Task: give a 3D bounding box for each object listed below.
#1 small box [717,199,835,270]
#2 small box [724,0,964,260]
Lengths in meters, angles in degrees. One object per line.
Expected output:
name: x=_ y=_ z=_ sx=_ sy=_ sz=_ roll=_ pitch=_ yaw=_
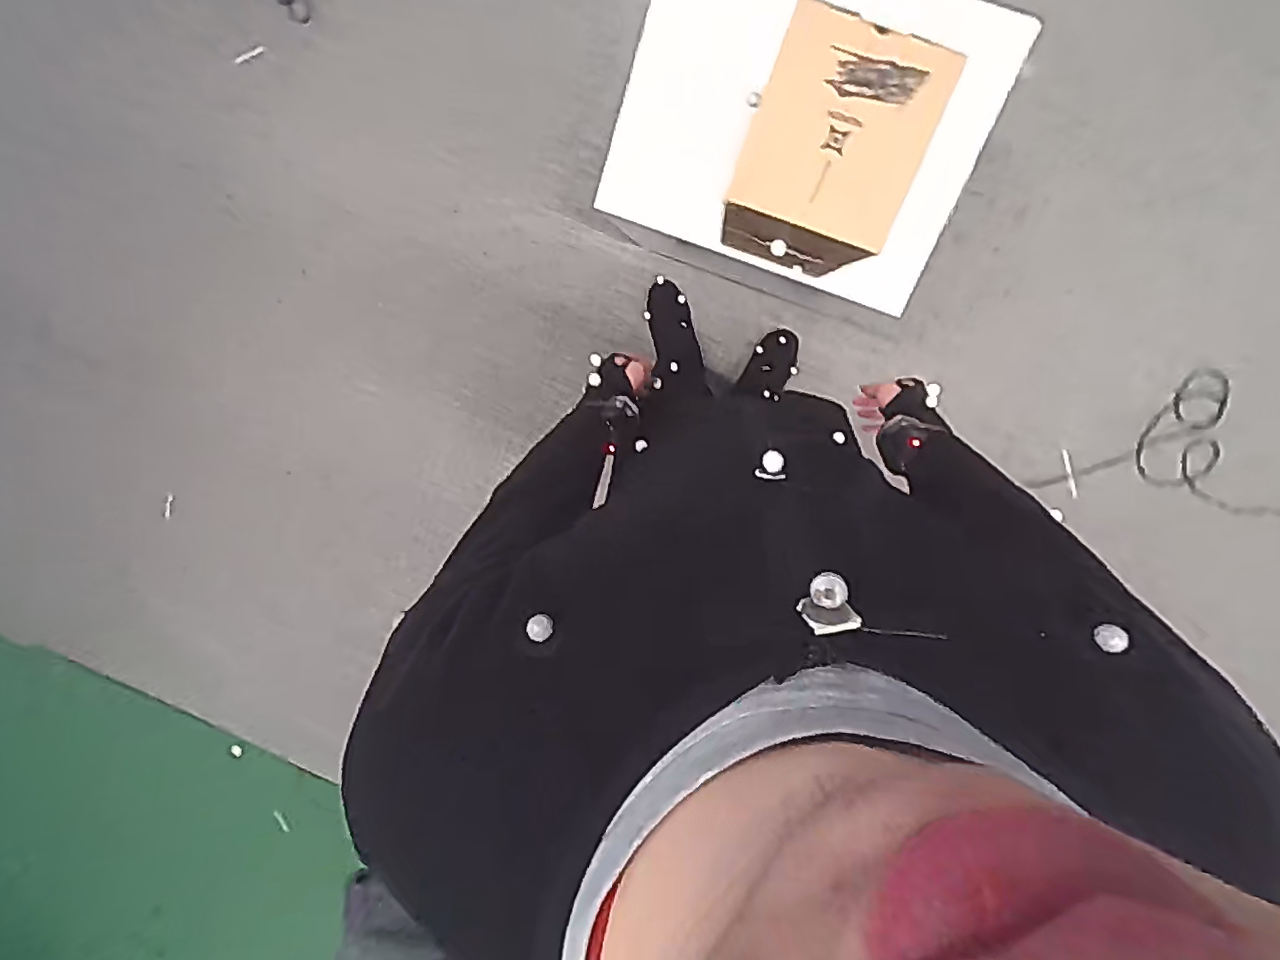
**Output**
small box: x=0.212 y=-0.403 z=0.739 sx=0.168 sy=0.176 sz=0.179 roll=20 pitch=107 yaw=0
small box: x=0.194 y=-0.356 z=0.582 sx=0.168 sy=0.176 sz=0.179 roll=21 pitch=109 yaw=0
